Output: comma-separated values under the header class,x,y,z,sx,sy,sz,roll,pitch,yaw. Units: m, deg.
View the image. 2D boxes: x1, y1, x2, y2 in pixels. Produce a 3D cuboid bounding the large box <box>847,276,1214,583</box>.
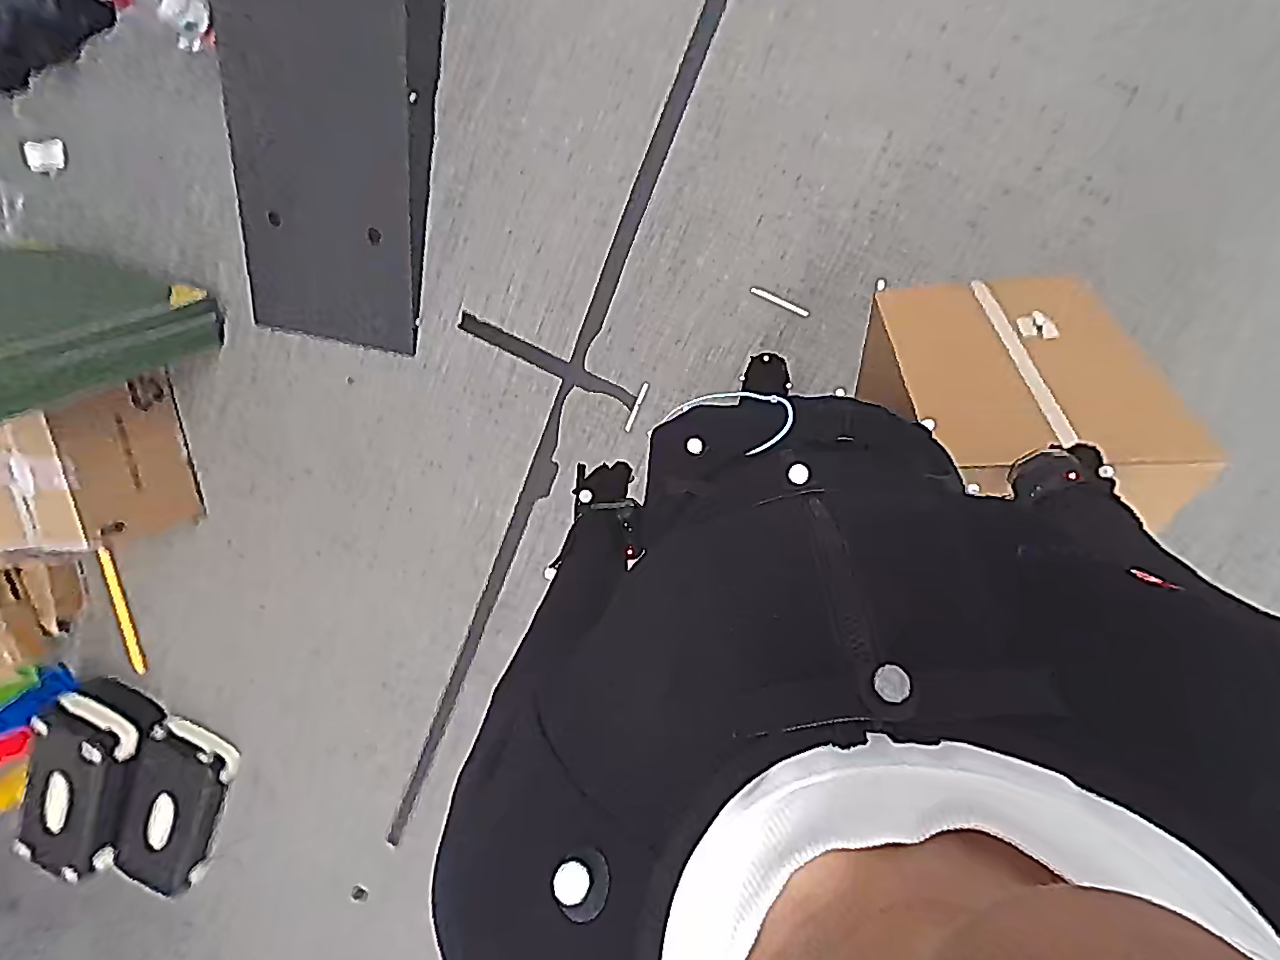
class,x,y,z,sx,sy,sz,roll,pitch,yaw
large box,0.553,-0.080,0.887,0.320,0.408,0.320,-1,140,7
